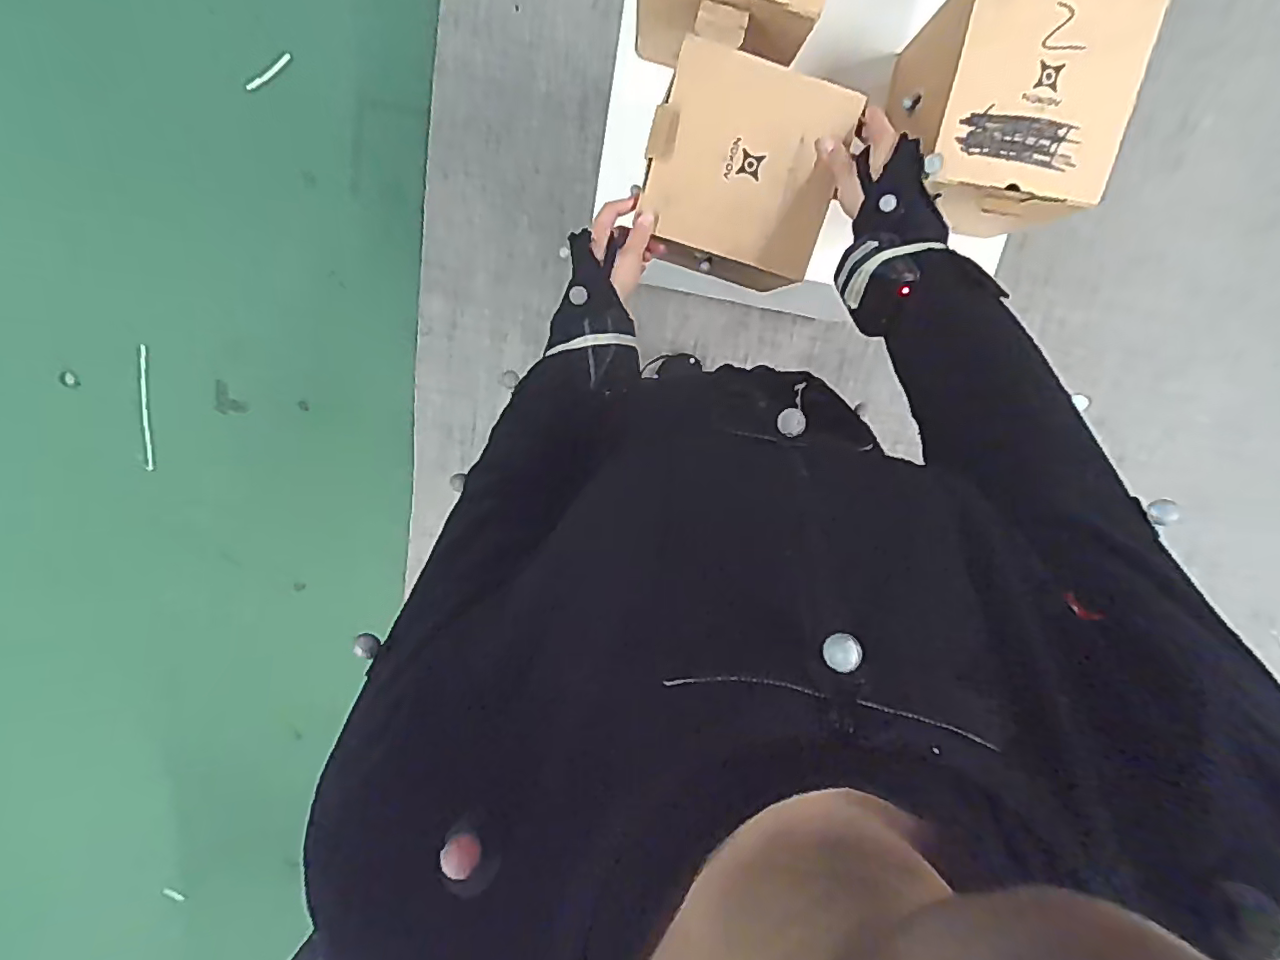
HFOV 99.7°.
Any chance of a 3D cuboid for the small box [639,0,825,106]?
[{"bbox_3d":[0.094,-0.511,0.525,0.168,0.176,0.179,13,105,-4],"label":"small box"}]
